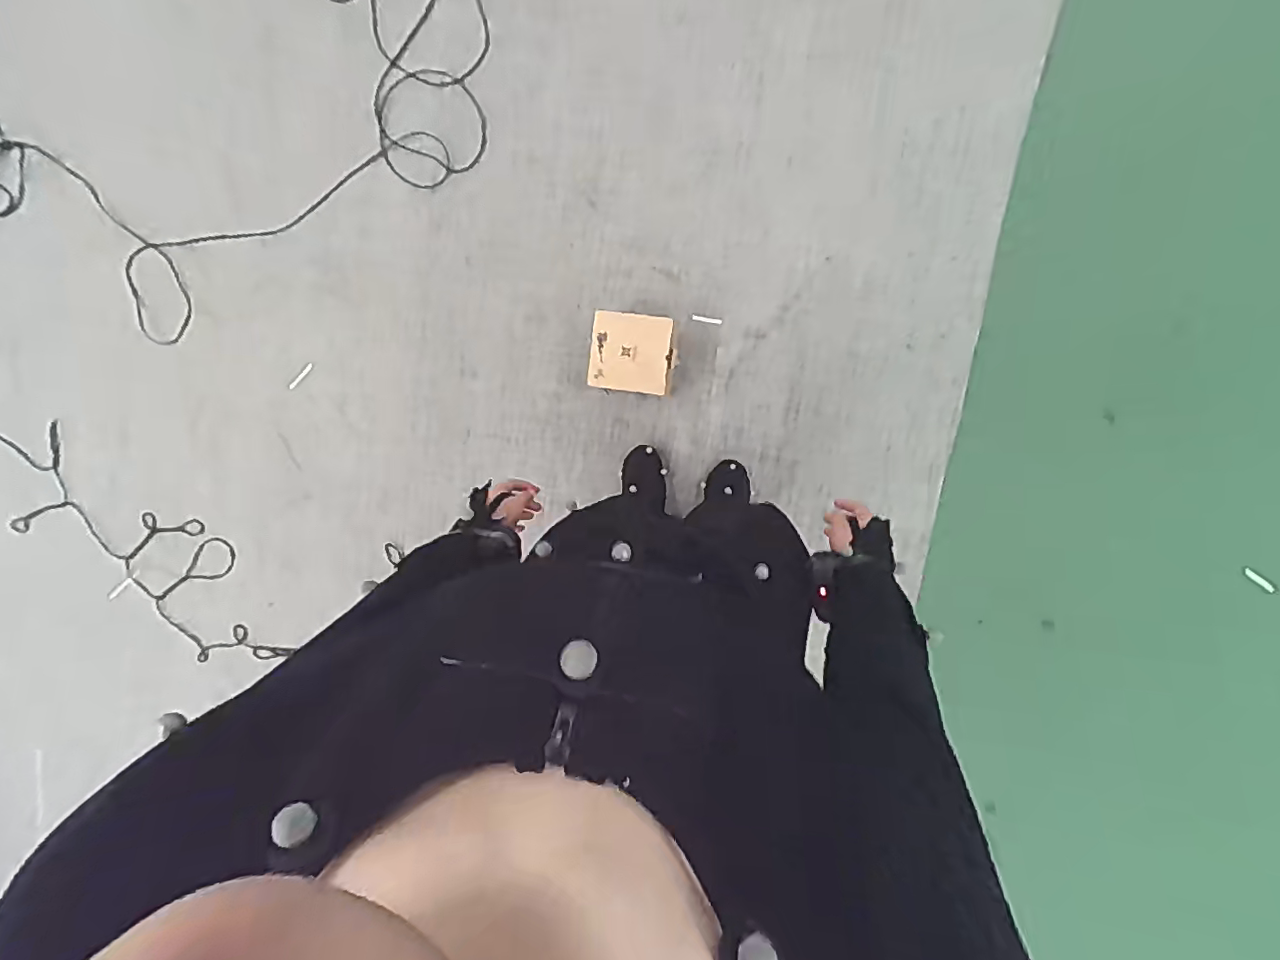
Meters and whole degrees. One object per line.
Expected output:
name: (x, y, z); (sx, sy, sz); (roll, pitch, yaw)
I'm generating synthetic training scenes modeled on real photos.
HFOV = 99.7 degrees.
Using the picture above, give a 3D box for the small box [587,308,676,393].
small box: (-0.012, -0.295, 1.250); (0.179, 0.176, 0.168); (8, 100, 6)
